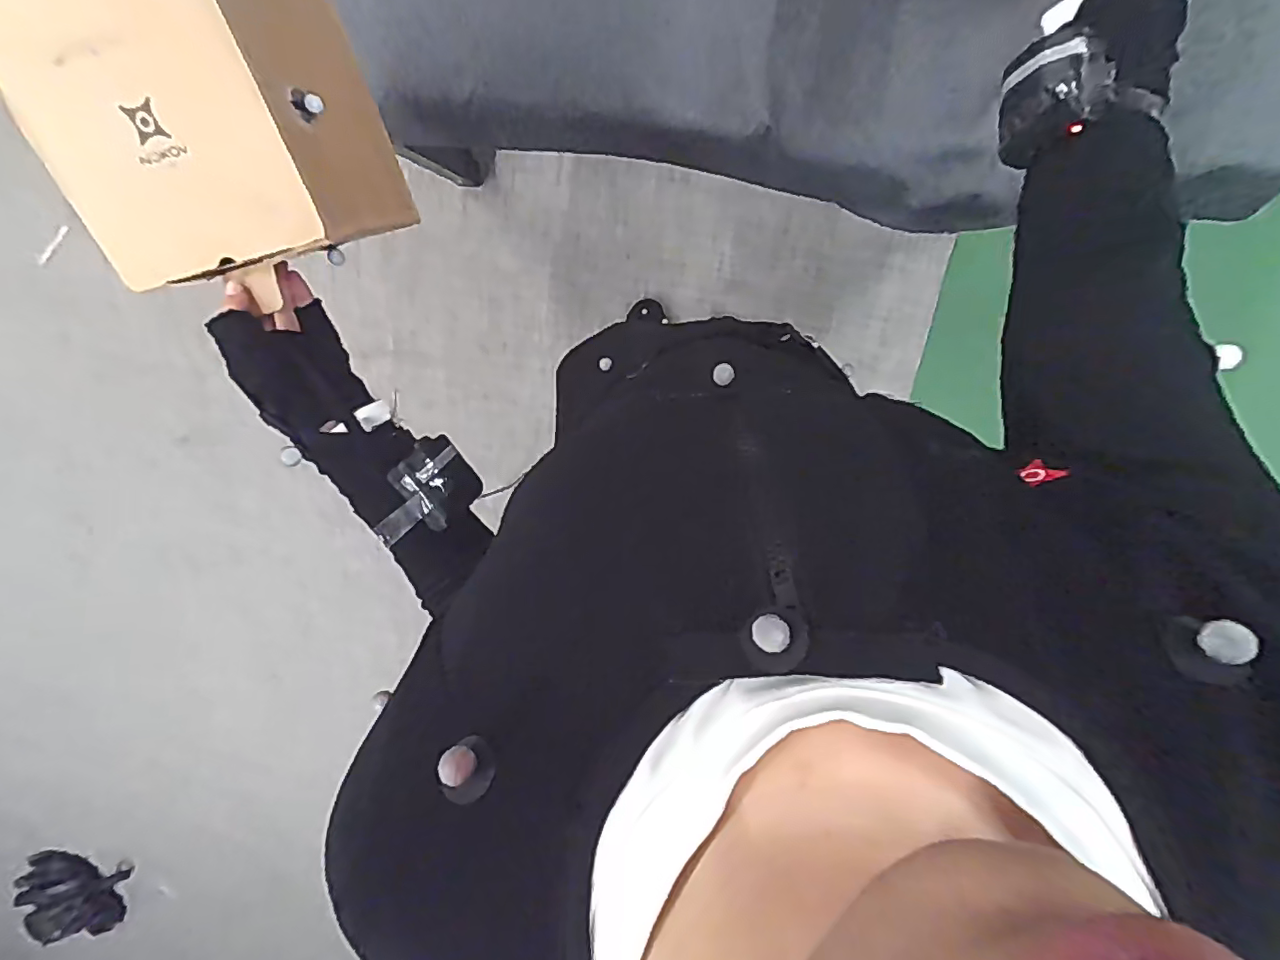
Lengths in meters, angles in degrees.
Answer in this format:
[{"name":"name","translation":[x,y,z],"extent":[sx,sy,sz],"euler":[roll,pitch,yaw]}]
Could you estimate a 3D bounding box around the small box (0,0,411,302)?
[{"name":"small box","translation":[-0.308,-0.257,0.412],"extent":[0.168,0.176,0.179],"euler":[-12,118,8]}]
